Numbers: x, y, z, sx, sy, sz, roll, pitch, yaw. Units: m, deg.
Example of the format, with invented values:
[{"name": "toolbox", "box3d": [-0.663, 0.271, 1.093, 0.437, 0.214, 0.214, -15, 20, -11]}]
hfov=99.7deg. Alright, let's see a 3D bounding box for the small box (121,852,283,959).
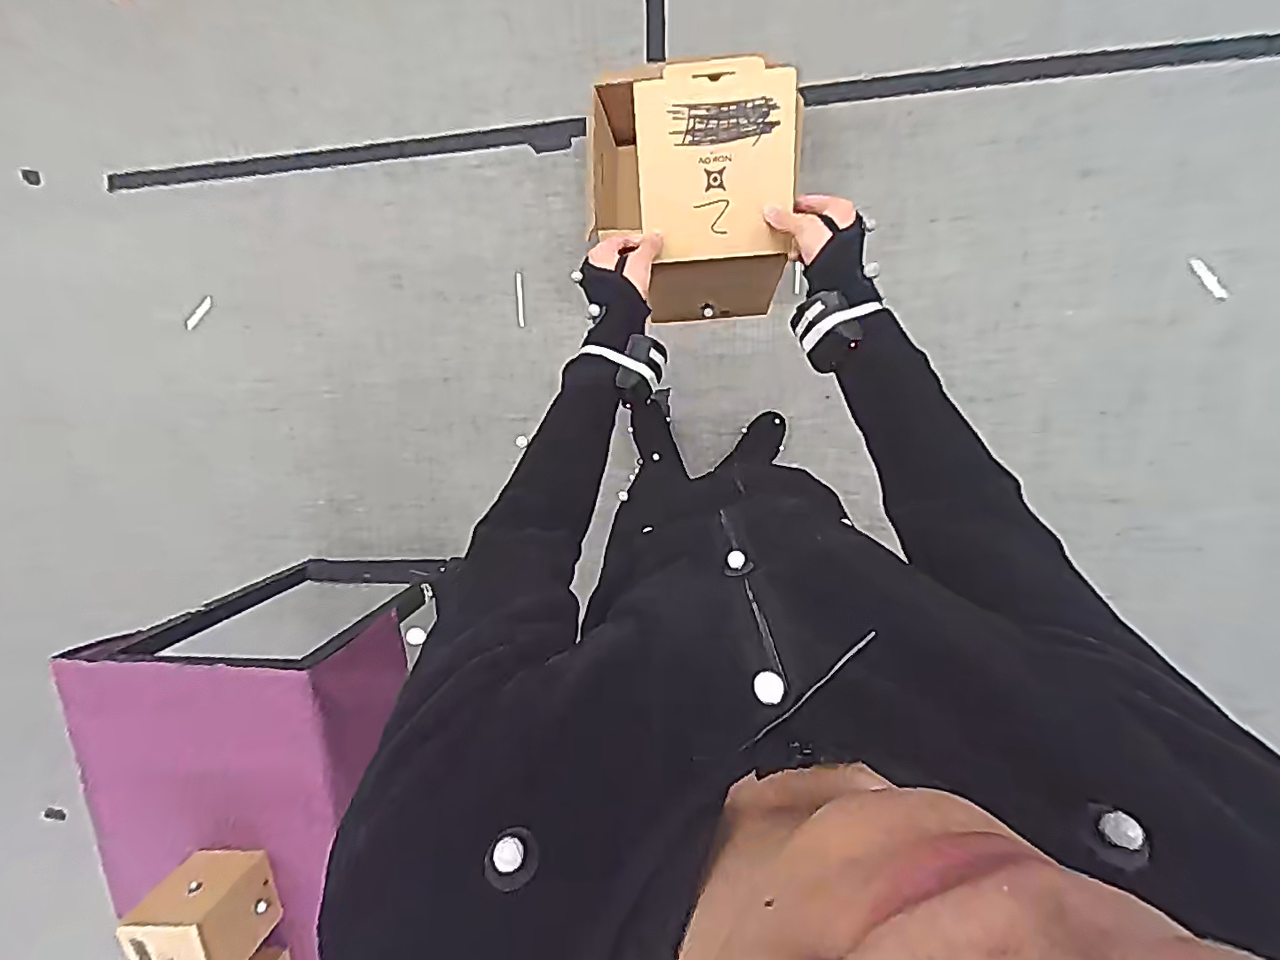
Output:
[{"name": "small box", "box3d": [-0.880, 0.896, 1.102, 0.179, 0.176, 0.168, -6, 99, 8]}]
